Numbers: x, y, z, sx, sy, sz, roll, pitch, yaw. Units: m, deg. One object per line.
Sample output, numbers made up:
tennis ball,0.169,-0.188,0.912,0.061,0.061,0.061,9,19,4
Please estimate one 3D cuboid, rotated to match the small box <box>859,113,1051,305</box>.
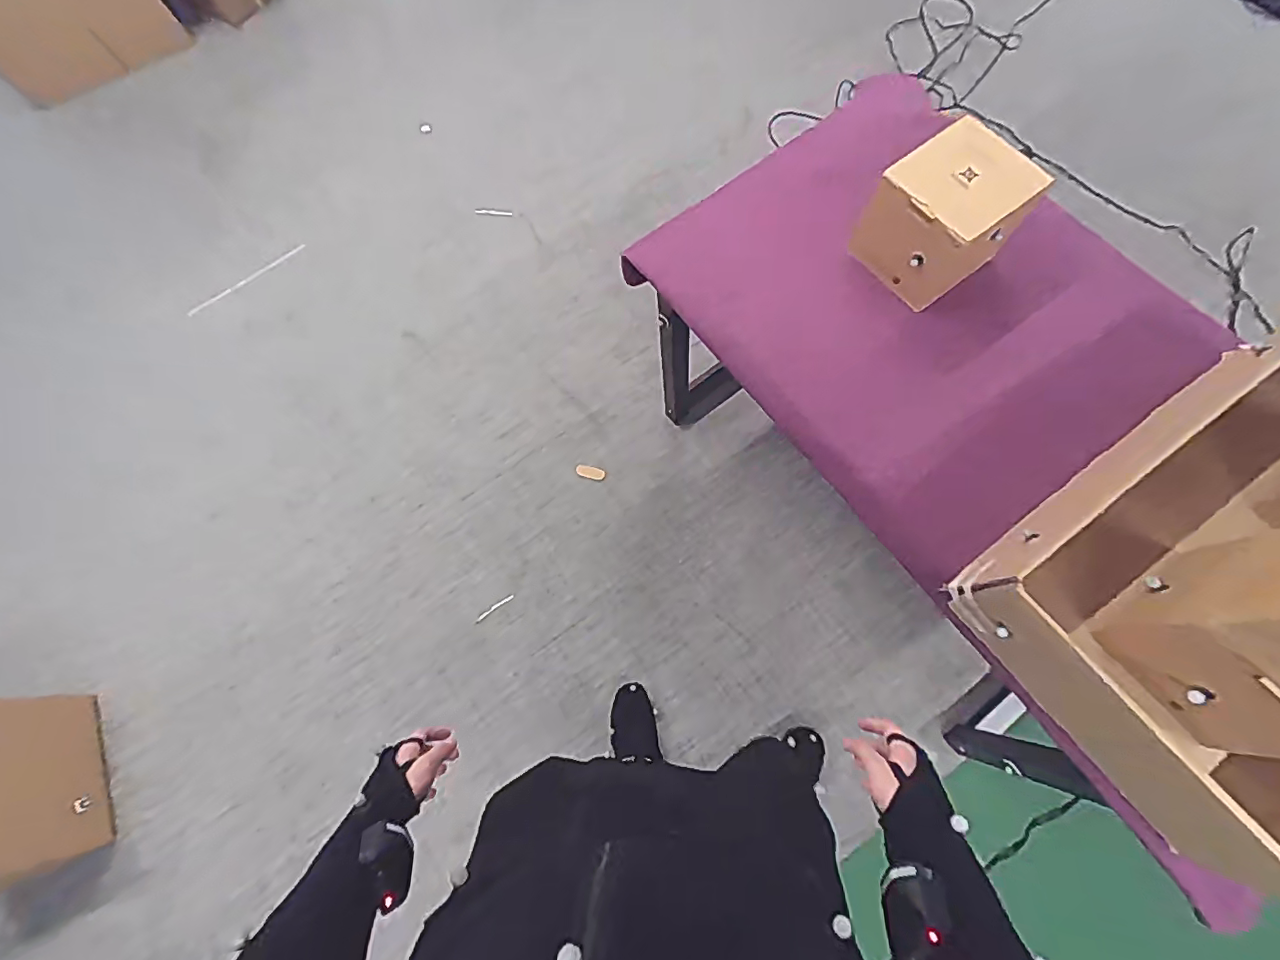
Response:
small box,0.473,-0.414,0.851,0.179,0.176,0.168,-35,75,-7
